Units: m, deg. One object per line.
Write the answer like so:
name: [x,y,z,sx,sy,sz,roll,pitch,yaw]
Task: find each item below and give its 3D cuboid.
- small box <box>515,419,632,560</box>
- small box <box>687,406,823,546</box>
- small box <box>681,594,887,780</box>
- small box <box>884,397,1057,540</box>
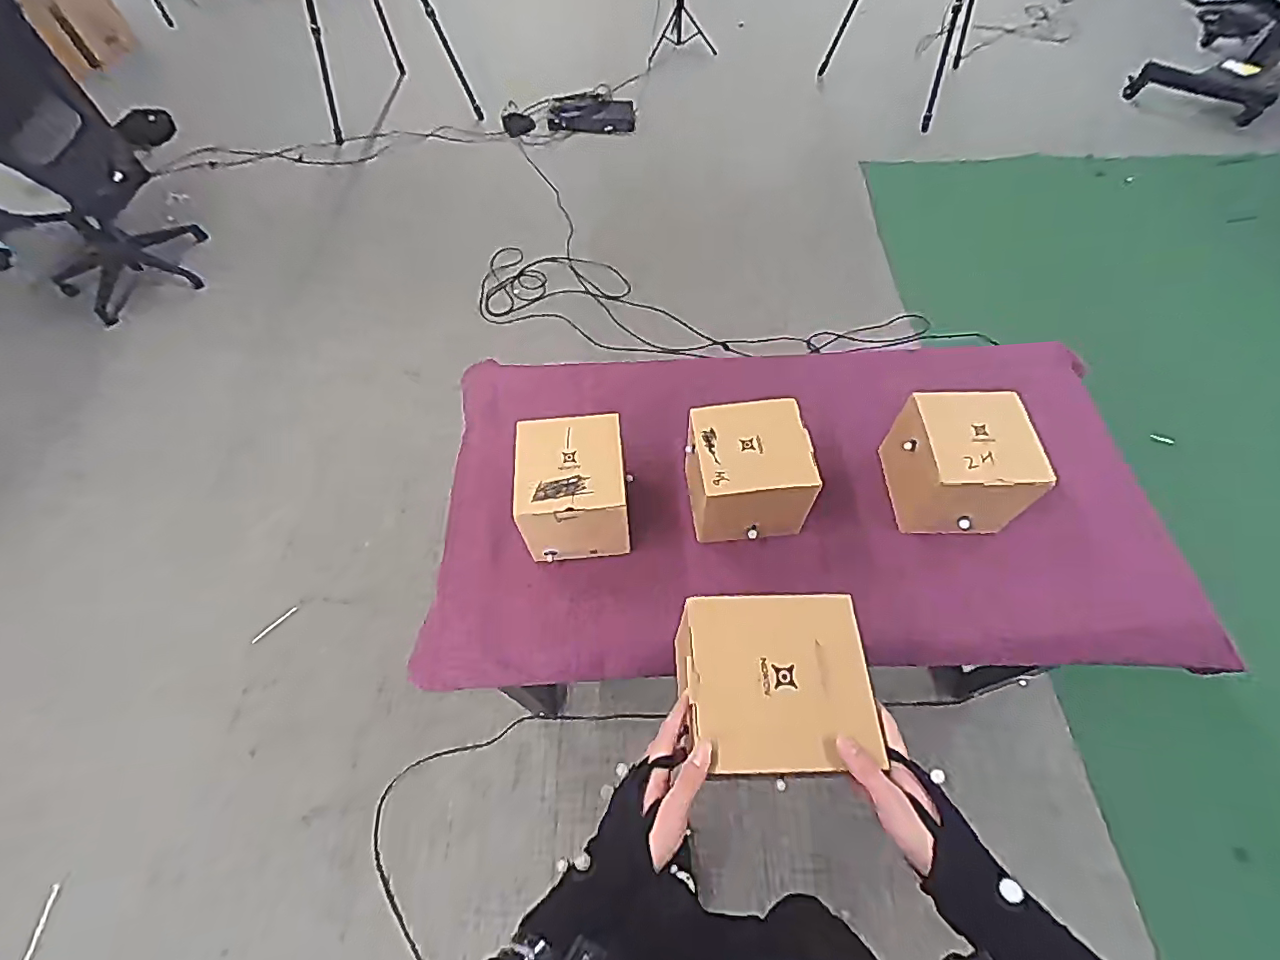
small box: [-0.103,0.023,0.890,0.168,0.176,0.179,-4,57,-1]
small box: [0.178,-0.002,0.896,0.179,0.176,0.168,-5,58,-1]
small box: [0.136,0.231,0.592,0.179,0.176,0.168,0,59,-1]
small box: [0.524,-0.017,0.892,0.168,0.176,0.179,0,58,3]
